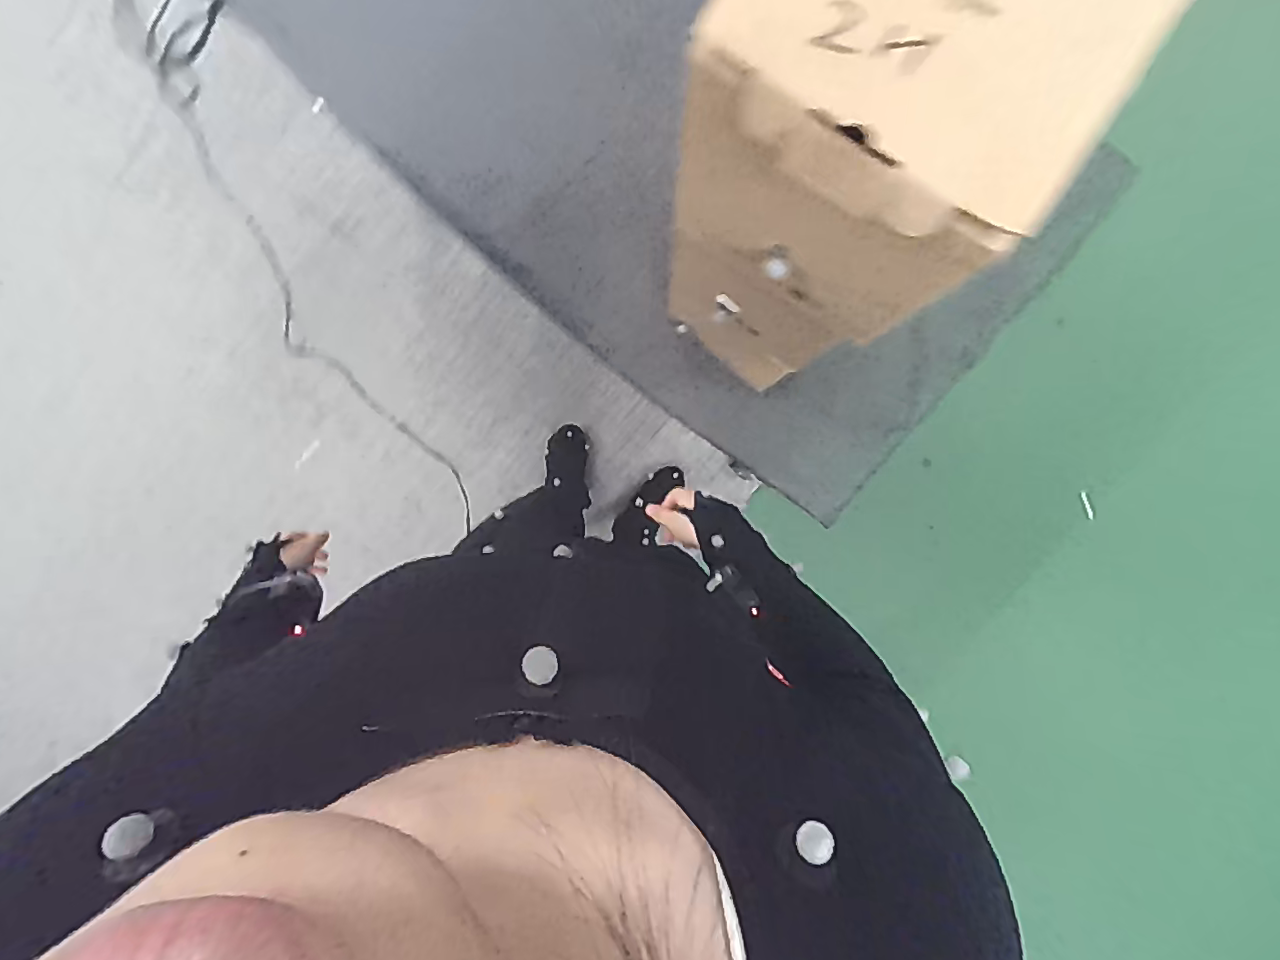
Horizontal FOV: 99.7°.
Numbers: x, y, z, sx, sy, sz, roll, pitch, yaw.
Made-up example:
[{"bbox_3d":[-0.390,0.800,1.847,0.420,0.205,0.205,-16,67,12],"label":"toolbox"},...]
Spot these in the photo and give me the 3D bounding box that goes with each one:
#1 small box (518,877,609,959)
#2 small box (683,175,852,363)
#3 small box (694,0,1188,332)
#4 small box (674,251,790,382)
[{"bbox_3d":[-0.203,1.243,1.484,0.168,0.176,0.179,-41,92,4],"label":"small box"},{"bbox_3d":[0.149,-0.229,0.474,0.168,0.176,0.179,38,93,1],"label":"small box"},{"bbox_3d":[0.142,-0.216,0.309,0.168,0.176,0.179,35,92,2],"label":"small box"},{"bbox_3d":[0.156,-0.238,0.636,0.168,0.176,0.179,42,91,0],"label":"small box"}]
